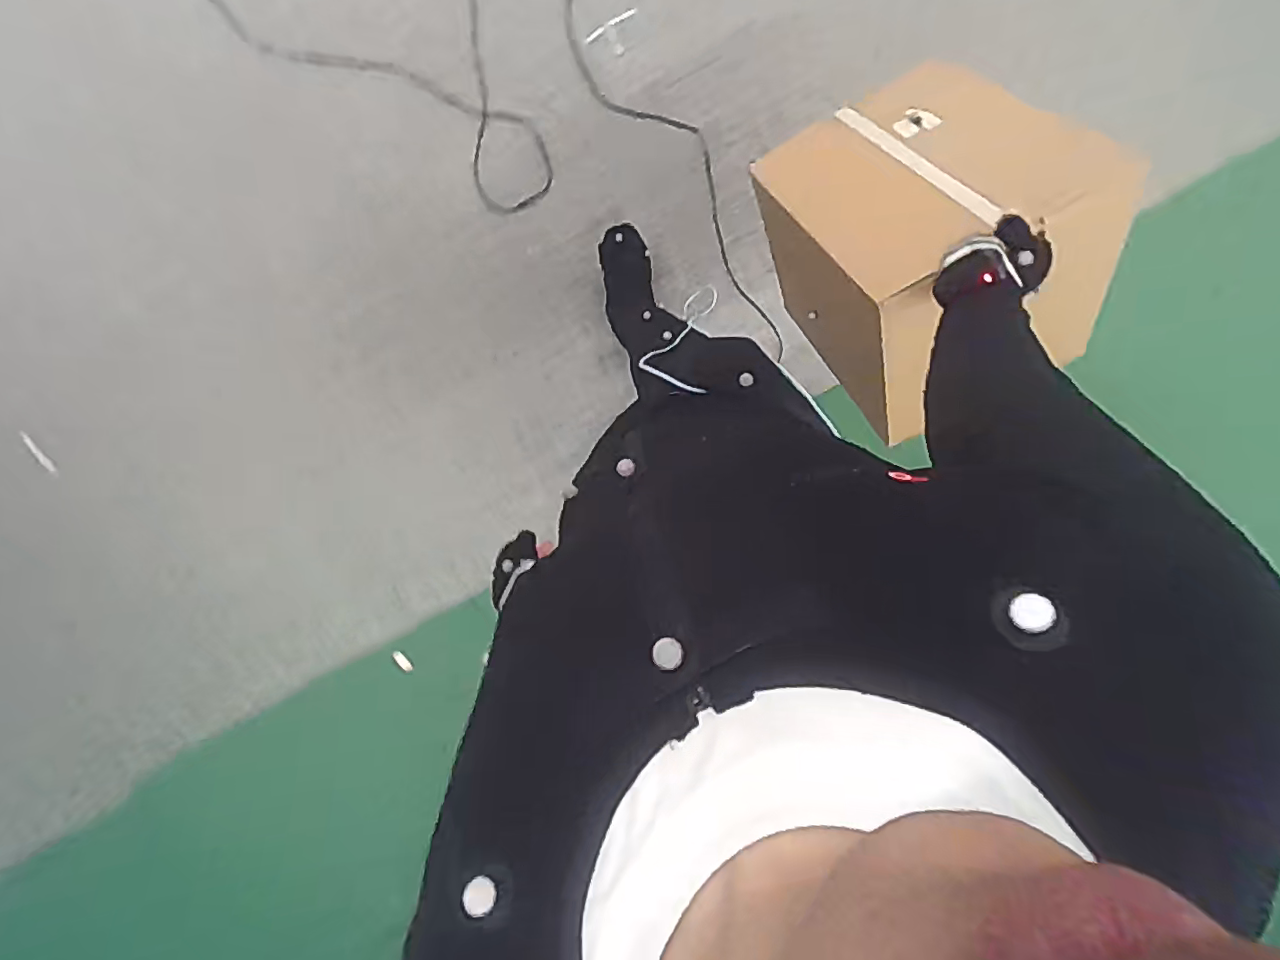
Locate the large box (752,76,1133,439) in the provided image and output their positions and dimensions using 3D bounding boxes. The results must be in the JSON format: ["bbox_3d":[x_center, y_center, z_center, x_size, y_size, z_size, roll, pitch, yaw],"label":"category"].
[{"bbox_3d":[0.431,-0.346,0.861,0.320,0.408,0.320,-27,140,9],"label":"large box"}]
